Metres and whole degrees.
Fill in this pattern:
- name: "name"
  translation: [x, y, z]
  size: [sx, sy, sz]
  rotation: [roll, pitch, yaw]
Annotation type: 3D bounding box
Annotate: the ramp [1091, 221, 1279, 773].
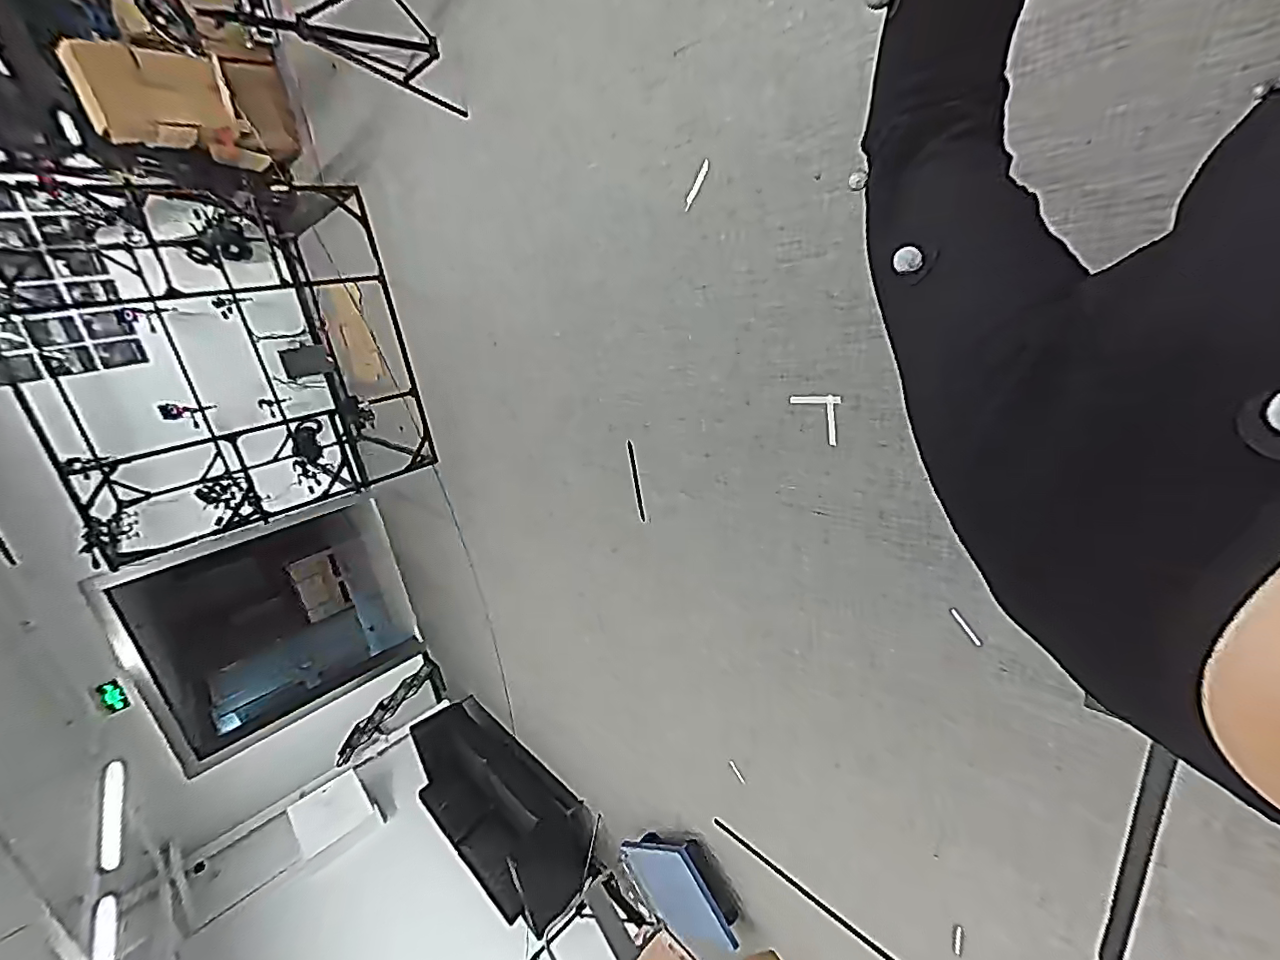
- name: "ramp"
  translation: [1.176, 0.059, 0.950]
  size: [0.509, 0.206, 0.991]
  rotation: [11, 117, 49]
